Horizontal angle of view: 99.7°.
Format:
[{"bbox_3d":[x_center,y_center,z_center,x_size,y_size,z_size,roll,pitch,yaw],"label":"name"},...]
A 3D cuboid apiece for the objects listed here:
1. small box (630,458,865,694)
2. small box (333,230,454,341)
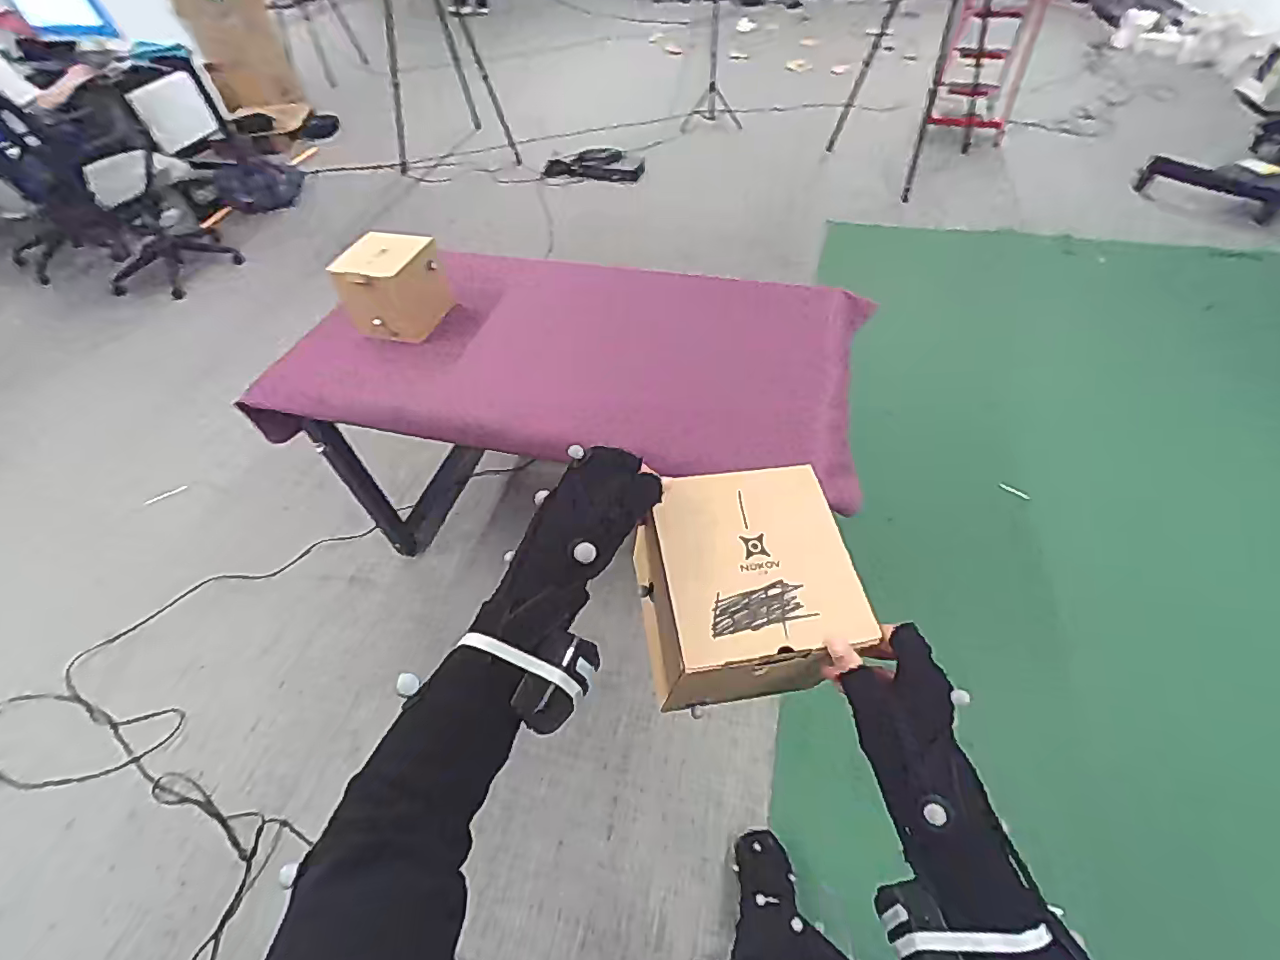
[{"bbox_3d":[0.085,0.102,0.536,0.168,0.176,0.179,-6,57,-9],"label":"small box"},{"bbox_3d":[-0.554,-0.448,1.248,0.168,0.176,0.179,10,53,13],"label":"small box"}]
